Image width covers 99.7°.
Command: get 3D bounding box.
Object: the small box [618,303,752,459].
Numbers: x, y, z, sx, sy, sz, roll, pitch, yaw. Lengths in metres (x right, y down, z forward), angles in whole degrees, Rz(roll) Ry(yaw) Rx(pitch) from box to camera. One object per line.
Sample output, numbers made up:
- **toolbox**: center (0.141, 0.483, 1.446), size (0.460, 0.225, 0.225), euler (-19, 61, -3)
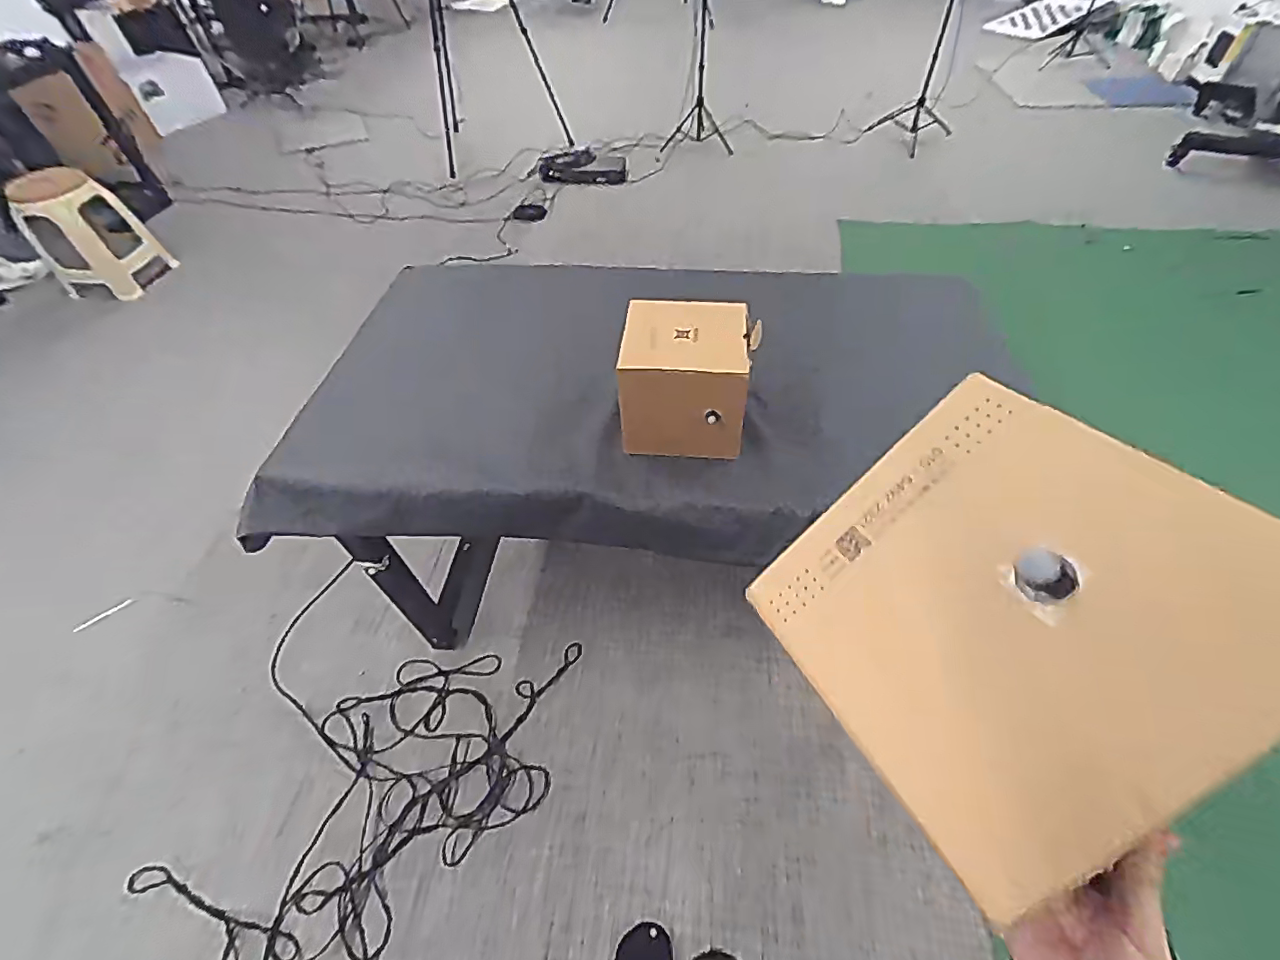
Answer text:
- **small box**: center (0.069, -0.146, 0.815), size (0.179, 0.176, 0.168), euler (2, 49, 6)
